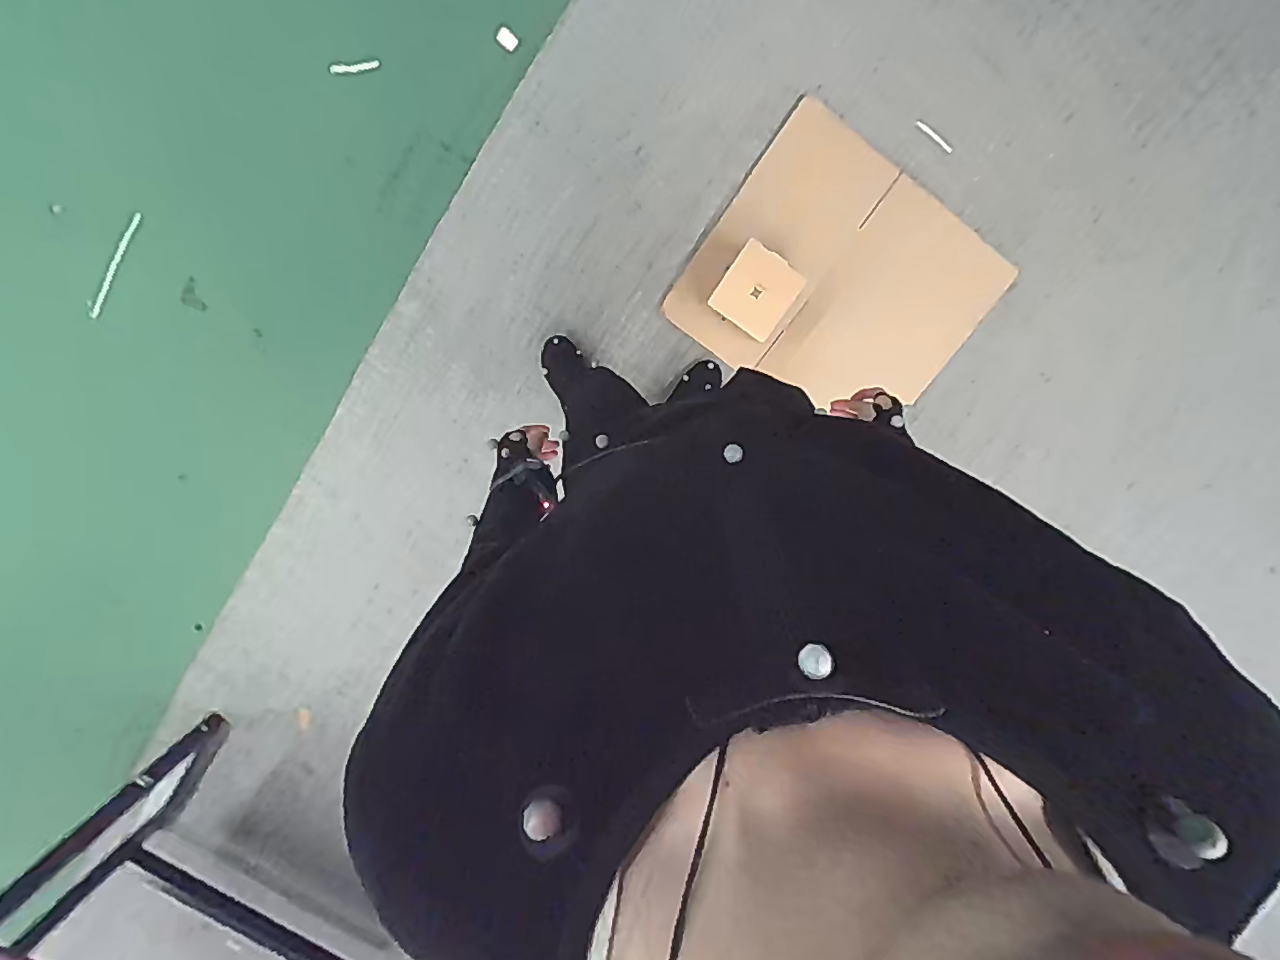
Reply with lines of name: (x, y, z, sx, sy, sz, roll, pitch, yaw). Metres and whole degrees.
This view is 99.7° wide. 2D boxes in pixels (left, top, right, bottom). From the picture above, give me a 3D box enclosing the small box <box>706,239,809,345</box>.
small box: (0.272, -0.442, 1.302, 0.168, 0.176, 0.179, 33, 102, -7)
